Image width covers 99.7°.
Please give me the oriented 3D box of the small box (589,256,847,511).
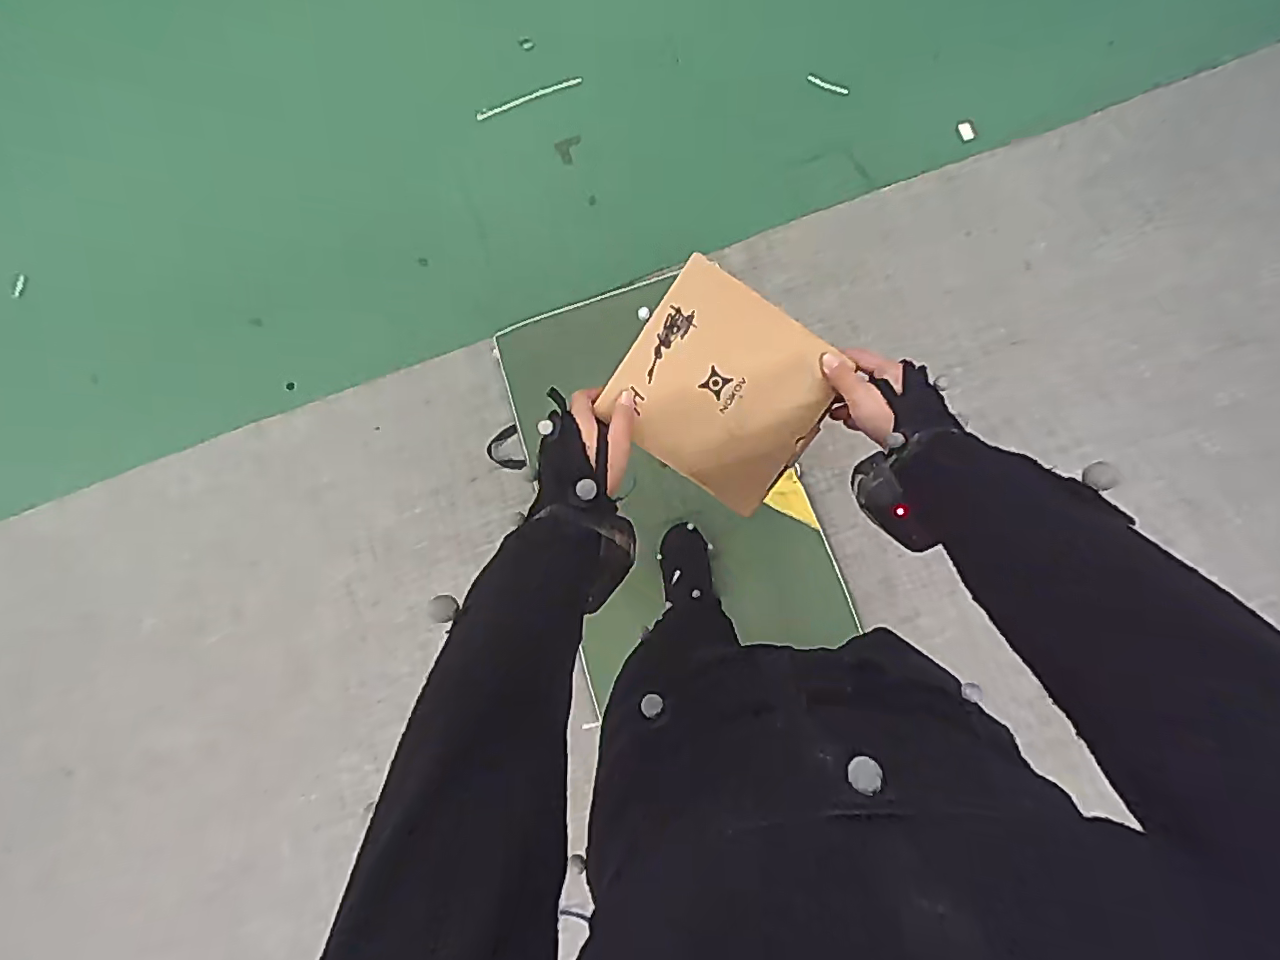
[{"bbox_3d":[0.071,-0.095,0.561,0.179,0.176,0.168,34,97,-3],"label":"small box"}]
